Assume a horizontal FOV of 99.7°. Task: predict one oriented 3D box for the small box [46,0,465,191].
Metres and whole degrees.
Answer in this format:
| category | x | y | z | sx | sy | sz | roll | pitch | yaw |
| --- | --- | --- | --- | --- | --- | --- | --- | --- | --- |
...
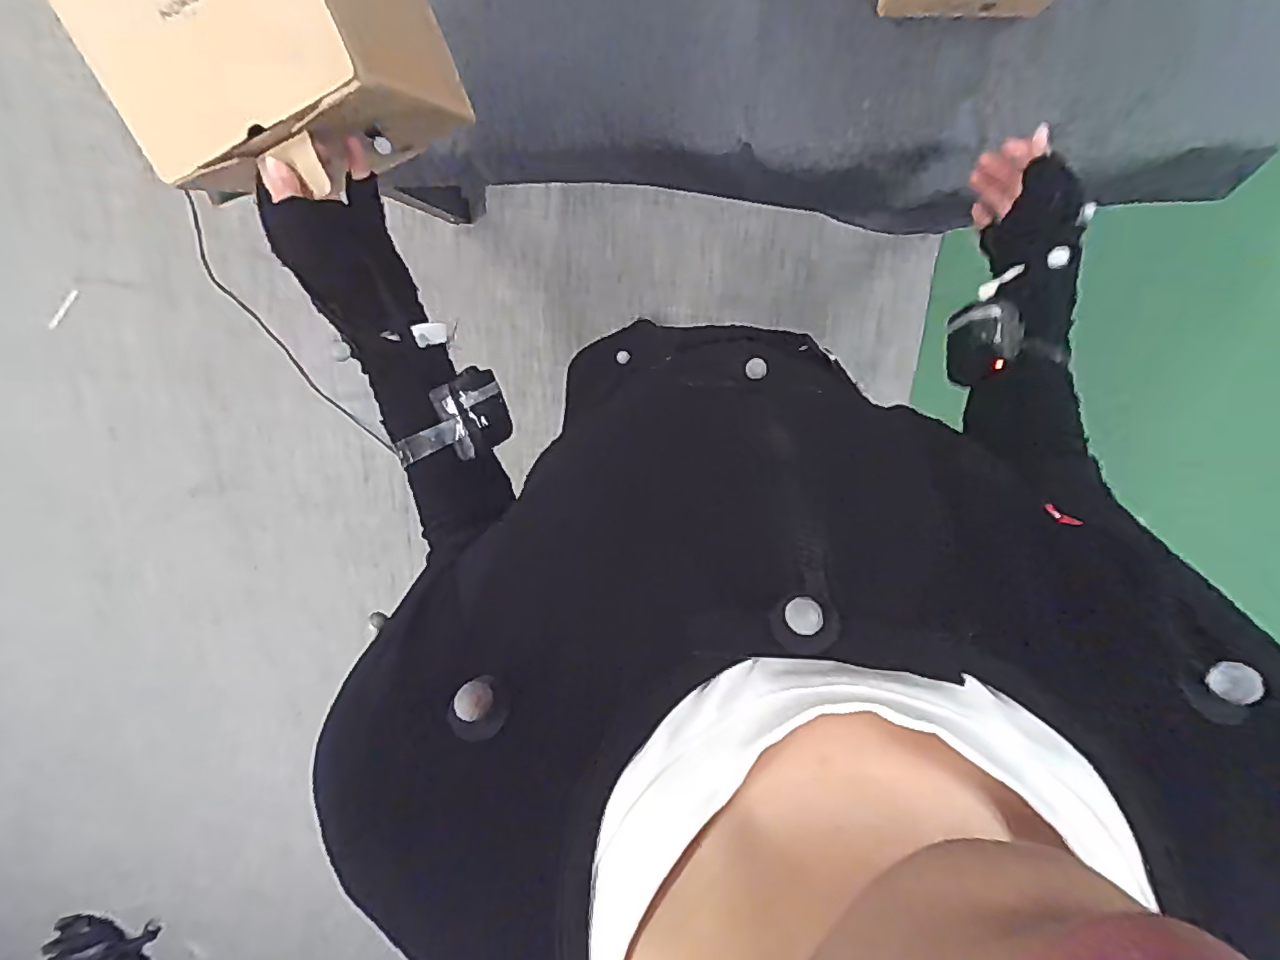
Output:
| category | x | y | z | sx | sy | sz | roll | pitch | yaw |
| --- | --- | --- | --- | --- | --- | --- | --- | --- | --- |
| small box | -0.252 | -0.320 | 0.372 | 0.168 | 0.176 | 0.179 | -16 | 112 | 15 |
